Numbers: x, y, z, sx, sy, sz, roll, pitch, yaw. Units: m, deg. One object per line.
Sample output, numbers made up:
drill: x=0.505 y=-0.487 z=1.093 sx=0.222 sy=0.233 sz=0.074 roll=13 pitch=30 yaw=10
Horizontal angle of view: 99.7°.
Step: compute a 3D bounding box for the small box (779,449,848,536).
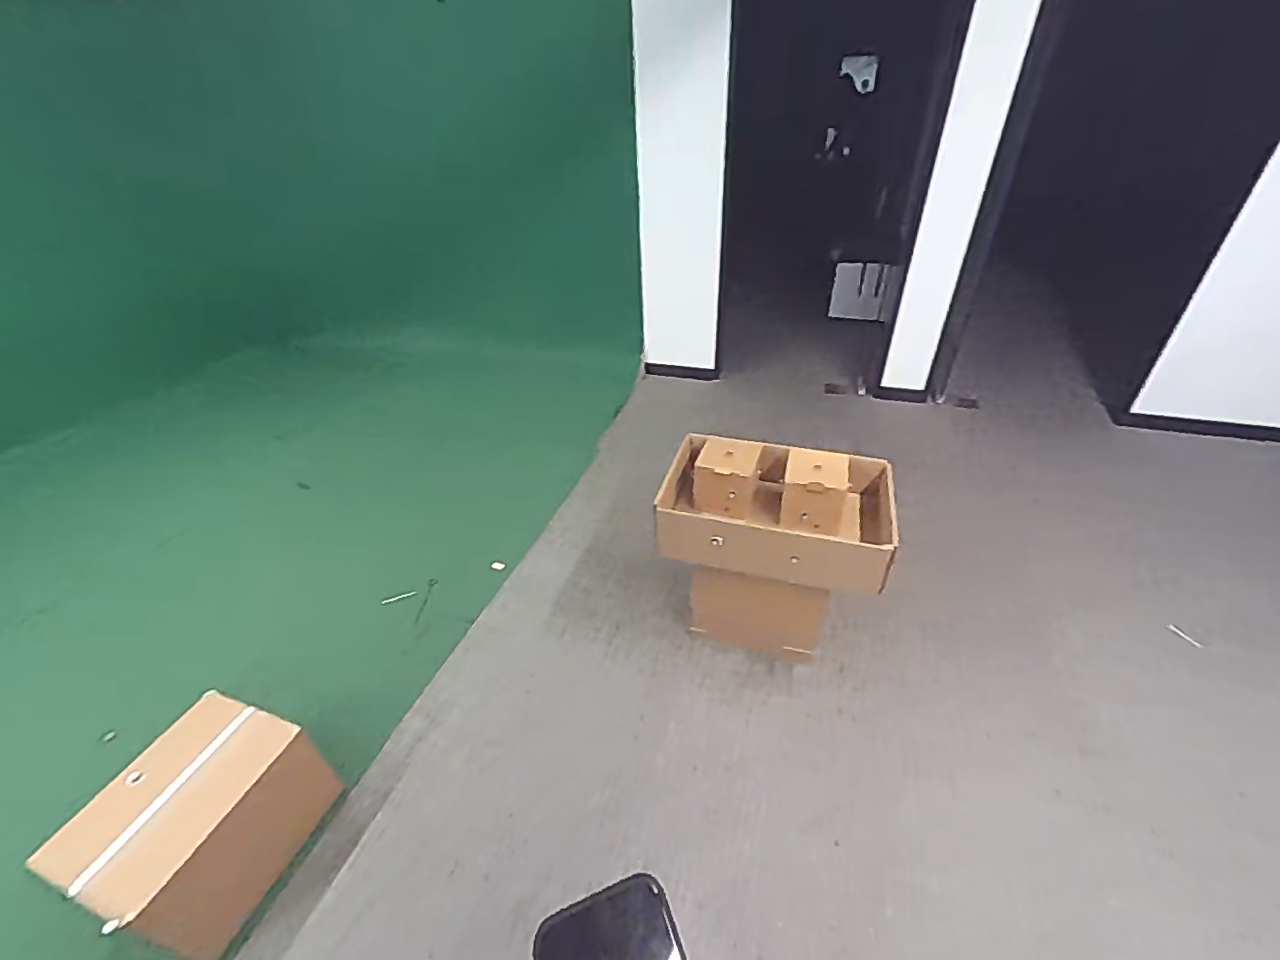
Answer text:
small box: x=0.500 y=0.034 z=1.564 sx=0.168 sy=0.176 sz=0.179 roll=8 pitch=38 yaw=16
